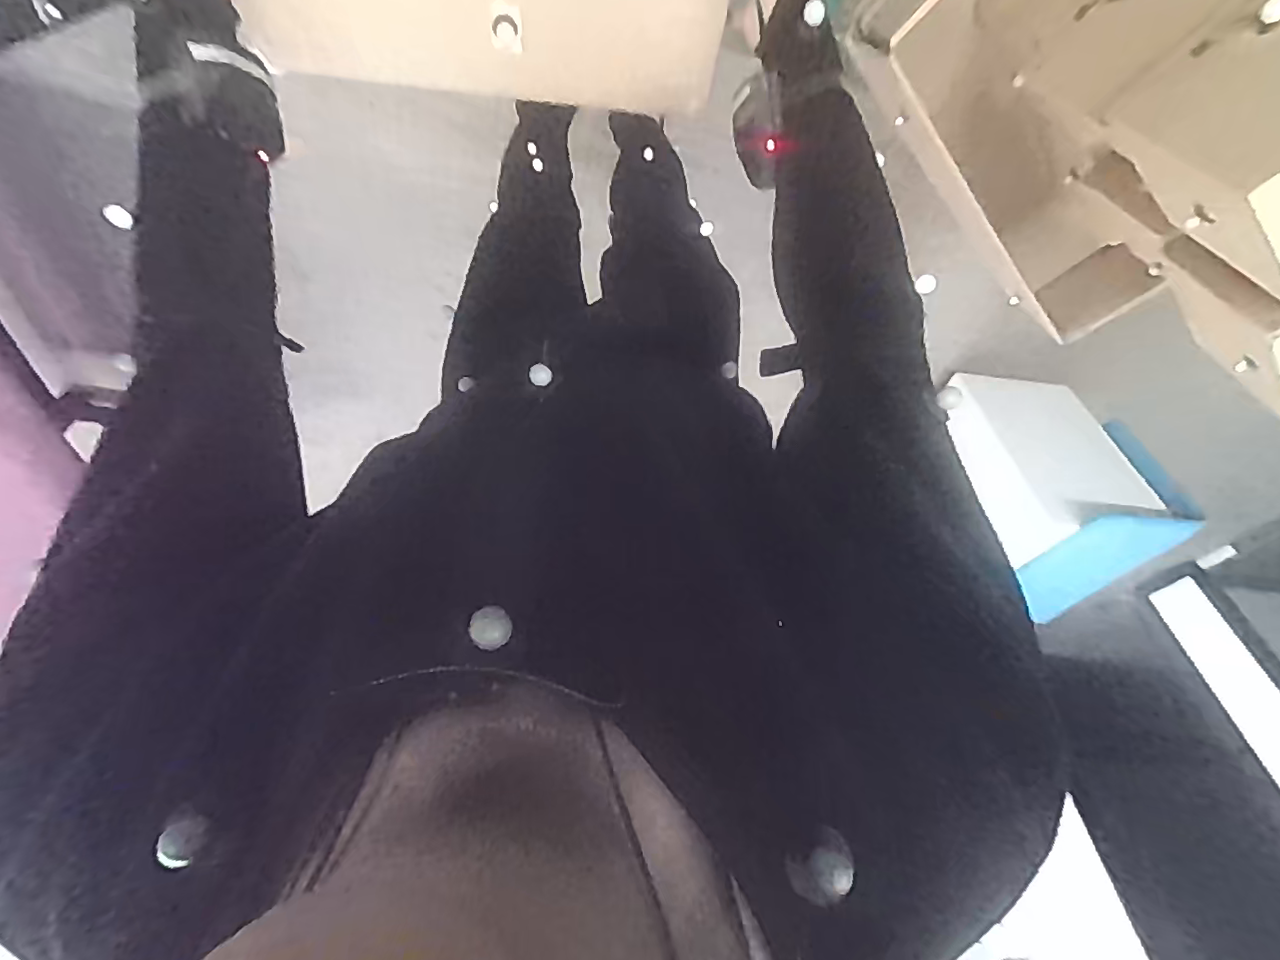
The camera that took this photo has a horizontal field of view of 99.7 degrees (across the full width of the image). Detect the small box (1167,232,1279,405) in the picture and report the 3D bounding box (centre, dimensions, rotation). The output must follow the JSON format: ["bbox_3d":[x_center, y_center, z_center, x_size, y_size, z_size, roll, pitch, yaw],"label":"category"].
[{"bbox_3d":[0.673,-0.190,0.524,0.179,0.176,0.168,31,131,-30],"label":"small box"}]

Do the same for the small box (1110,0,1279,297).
[{"bbox_3d":[0.521,-0.274,0.408,0.179,0.176,0.168,23,133,-27],"label":"small box"}]
